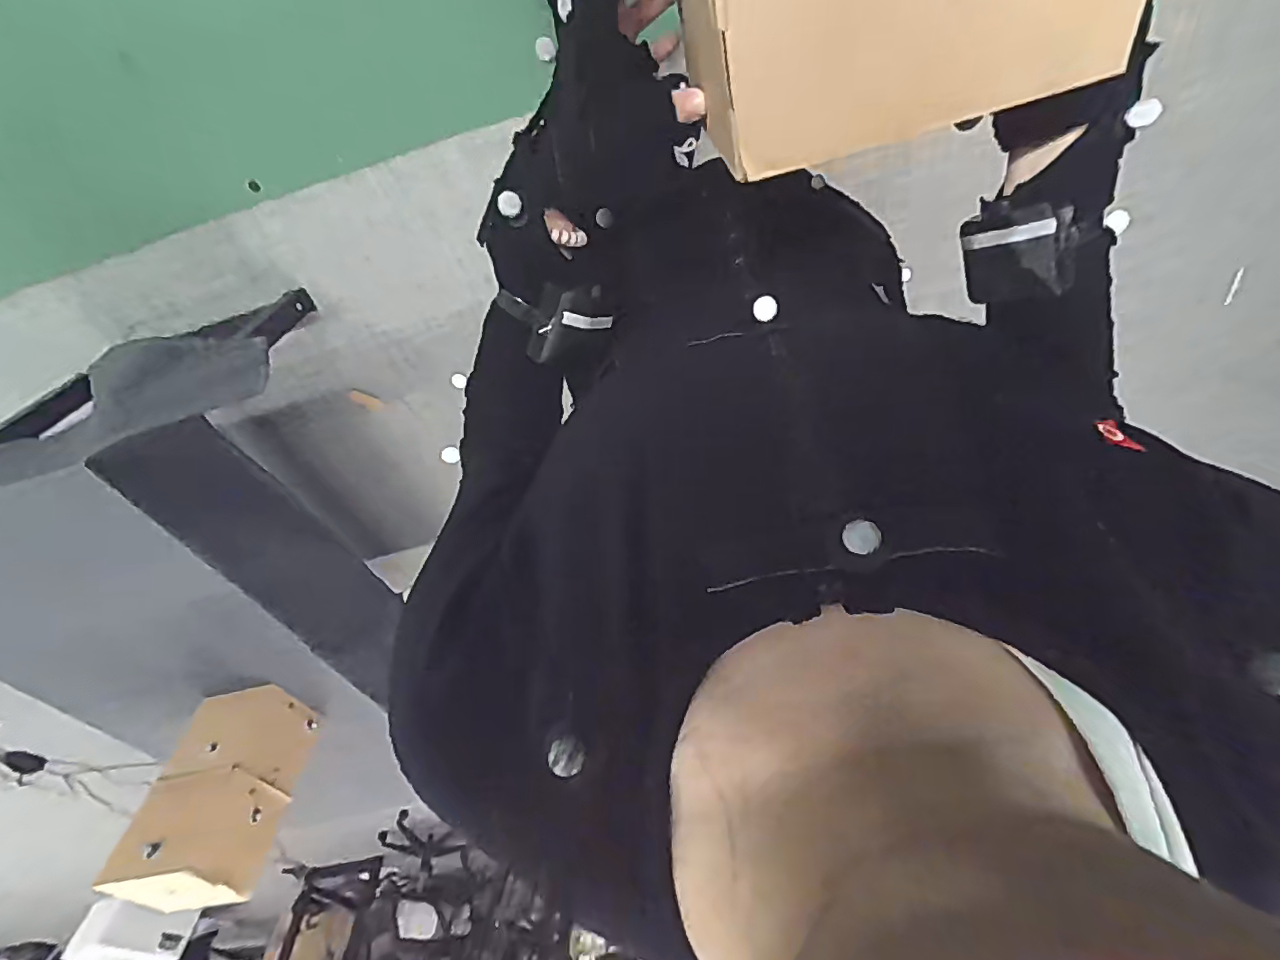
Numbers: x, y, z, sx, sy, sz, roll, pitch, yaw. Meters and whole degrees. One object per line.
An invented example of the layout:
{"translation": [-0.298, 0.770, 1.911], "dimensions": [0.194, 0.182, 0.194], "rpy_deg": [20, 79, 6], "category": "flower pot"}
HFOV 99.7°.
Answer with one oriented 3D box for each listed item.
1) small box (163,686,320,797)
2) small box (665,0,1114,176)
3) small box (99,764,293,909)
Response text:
{"translation": [-0.798, 0.547, 1.114], "dimensions": [0.179, 0.176, 0.168], "rpy_deg": [-14, 128, 9], "category": "small box"}
{"translation": [0.101, -0.281, 0.262], "dimensions": [0.179, 0.176, 0.168], "rpy_deg": [-13, 133, 8], "category": "small box"}
{"translation": [-0.790, 0.647, 0.986], "dimensions": [0.179, 0.176, 0.168], "rpy_deg": [-14, 128, 8], "category": "small box"}
